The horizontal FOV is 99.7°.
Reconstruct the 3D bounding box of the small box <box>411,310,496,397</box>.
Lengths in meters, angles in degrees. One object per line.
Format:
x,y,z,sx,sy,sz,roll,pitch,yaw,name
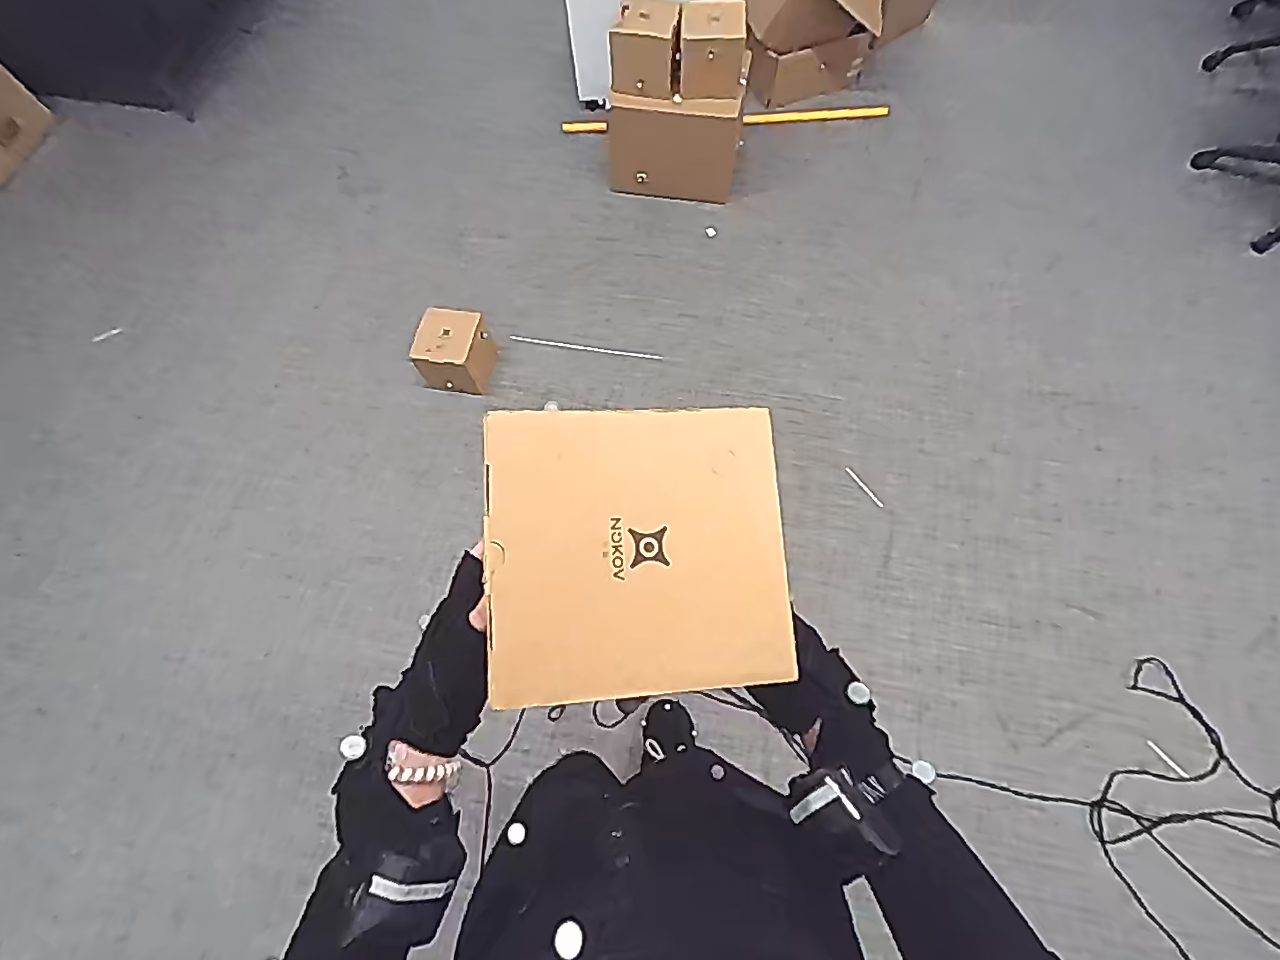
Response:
-0.536,-0.368,1.586,0.168,0.176,0.179,8,70,6,small box

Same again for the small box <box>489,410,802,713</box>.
-0.008,0.052,0.386,0.179,0.176,0.168,-3,81,-8,small box
